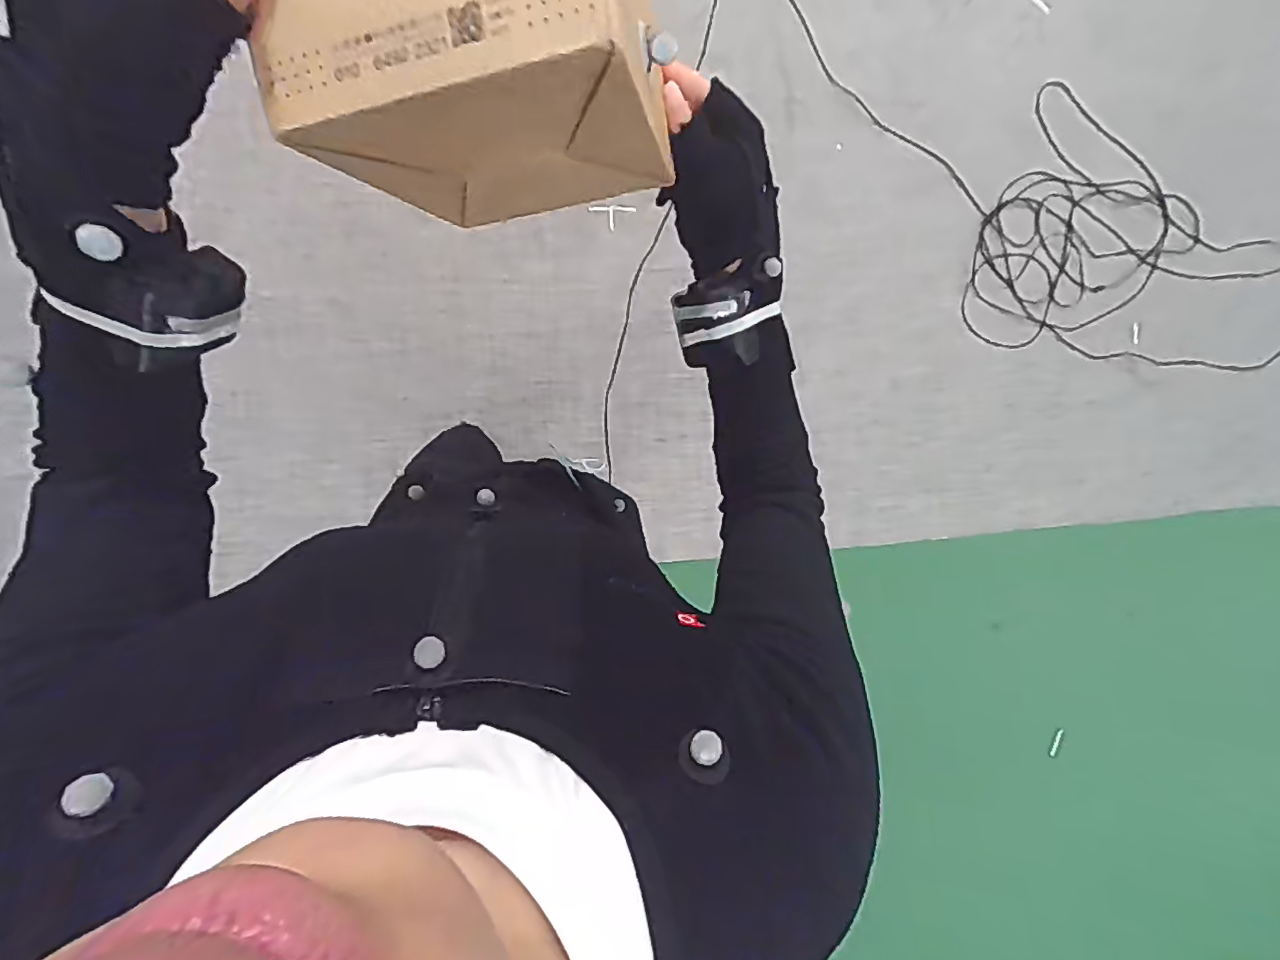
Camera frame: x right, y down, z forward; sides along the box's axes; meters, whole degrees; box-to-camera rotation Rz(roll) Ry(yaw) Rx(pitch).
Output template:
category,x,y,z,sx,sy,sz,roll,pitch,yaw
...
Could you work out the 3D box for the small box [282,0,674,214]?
category,x,y,z,sx,sy,sz,roll,pitch,yaw
small box,-0.077,-0.266,0.301,0.168,0.179,0.176,-6,101,12
